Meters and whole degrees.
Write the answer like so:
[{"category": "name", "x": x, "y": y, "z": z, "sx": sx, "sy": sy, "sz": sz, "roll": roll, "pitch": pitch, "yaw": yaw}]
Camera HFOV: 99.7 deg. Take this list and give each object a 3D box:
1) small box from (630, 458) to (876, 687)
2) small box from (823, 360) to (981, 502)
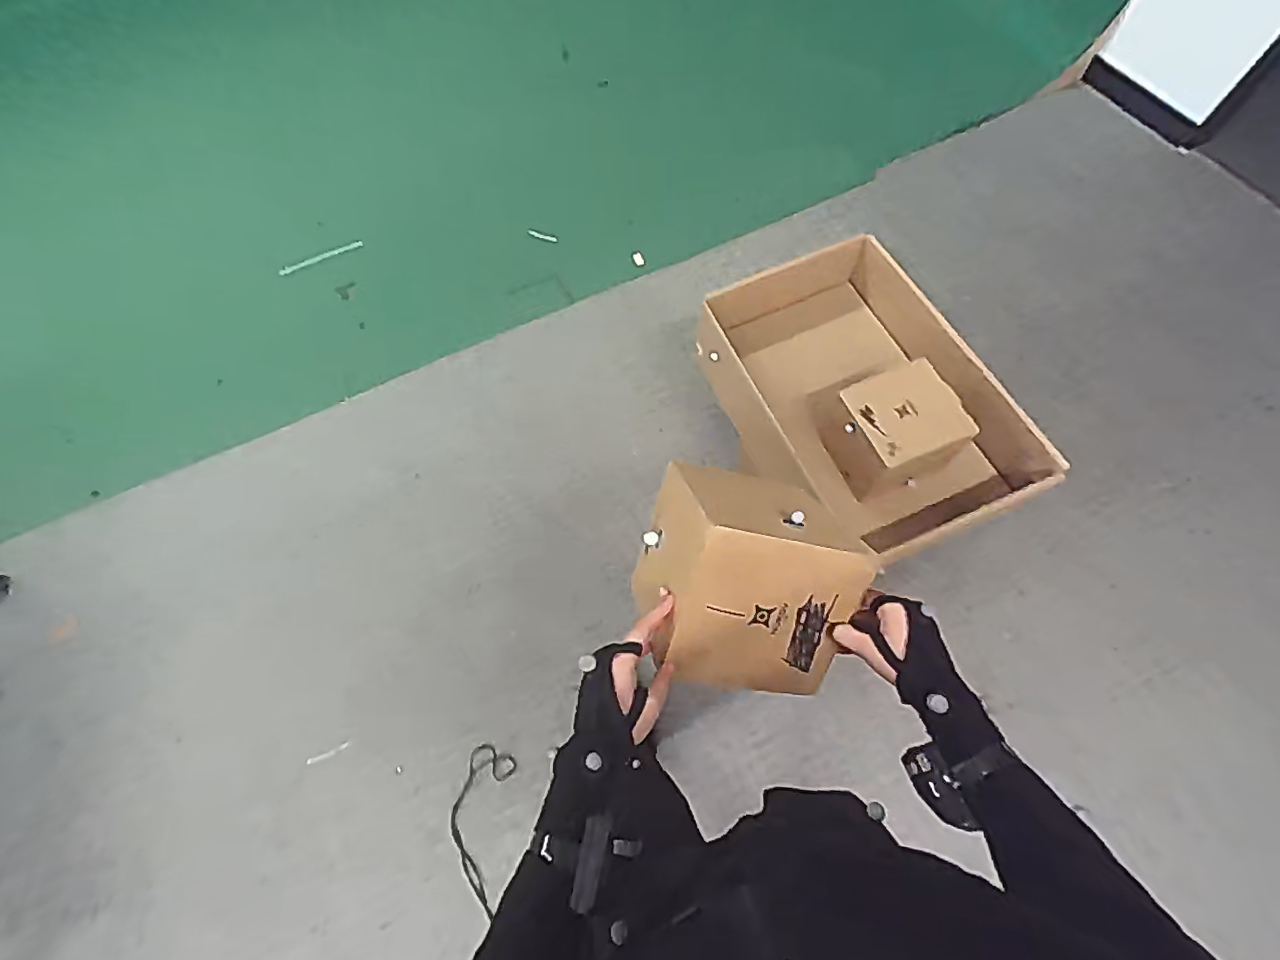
[{"category": "small box", "x": 0.102, "y": 0.089, "z": 0.574, "sx": 0.179, "sy": 0.176, "sz": 0.168, "roll": 13, "pitch": 108, "yaw": -14}, {"category": "small box", "x": 0.465, "y": -0.084, "z": 0.993, "sx": 0.179, "sy": 0.176, "sz": 0.168, "roll": -21, "pitch": 65, "yaw": -4}]
